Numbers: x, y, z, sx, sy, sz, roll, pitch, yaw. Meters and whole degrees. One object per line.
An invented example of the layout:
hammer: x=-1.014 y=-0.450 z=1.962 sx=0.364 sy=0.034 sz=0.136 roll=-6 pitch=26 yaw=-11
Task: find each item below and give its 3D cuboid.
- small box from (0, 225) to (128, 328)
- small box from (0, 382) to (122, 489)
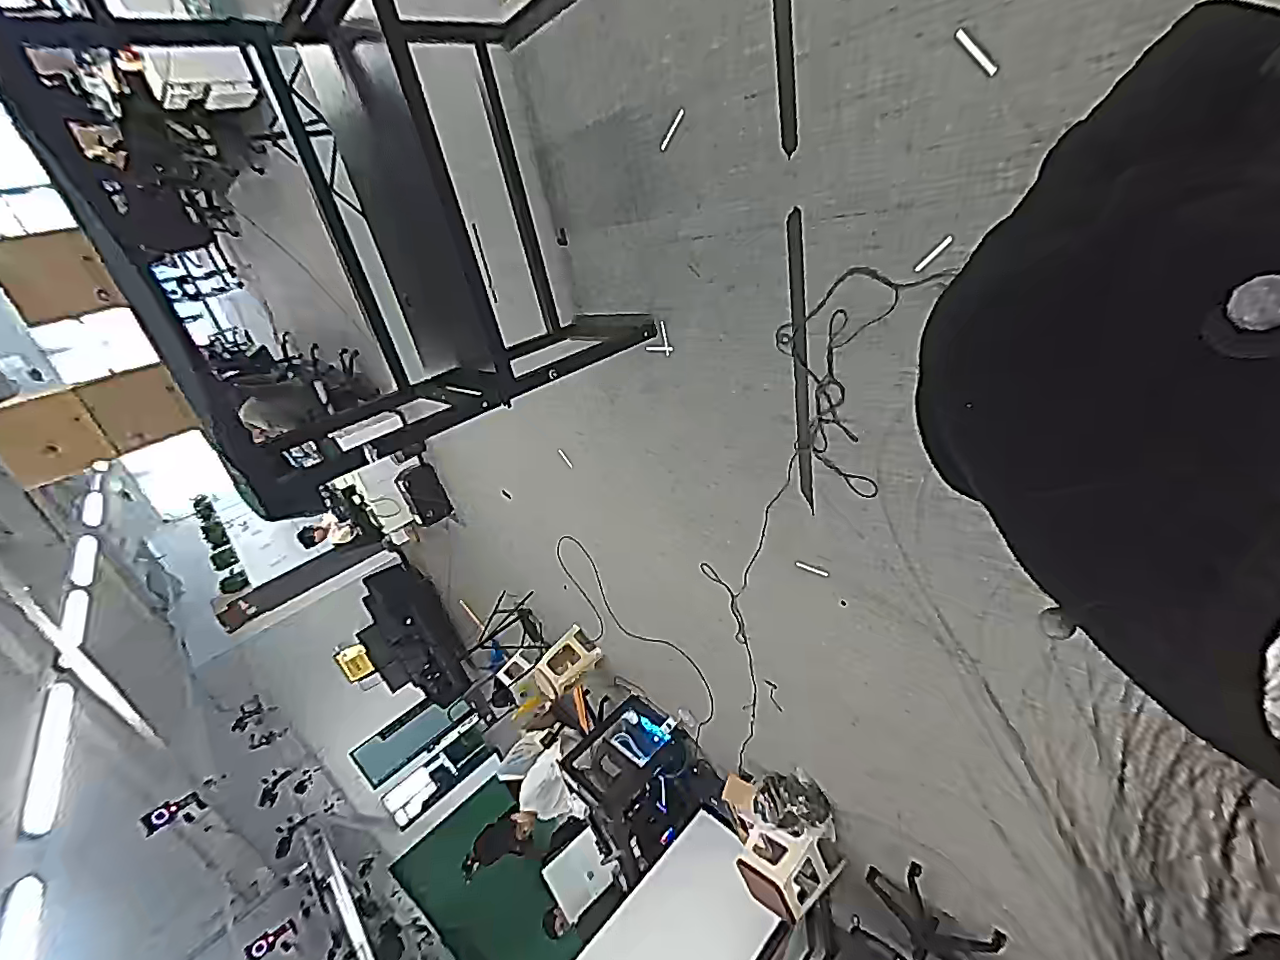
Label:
small box: x=-1.224 y=-0.427 z=1.135 sx=0.179 sy=0.176 sz=0.168 roll=20 pitch=131 yaw=46
small box: x=-1.281 y=-0.105 z=1.177 sx=0.179 sy=0.176 sz=0.168 roll=19 pitch=131 yaw=47
